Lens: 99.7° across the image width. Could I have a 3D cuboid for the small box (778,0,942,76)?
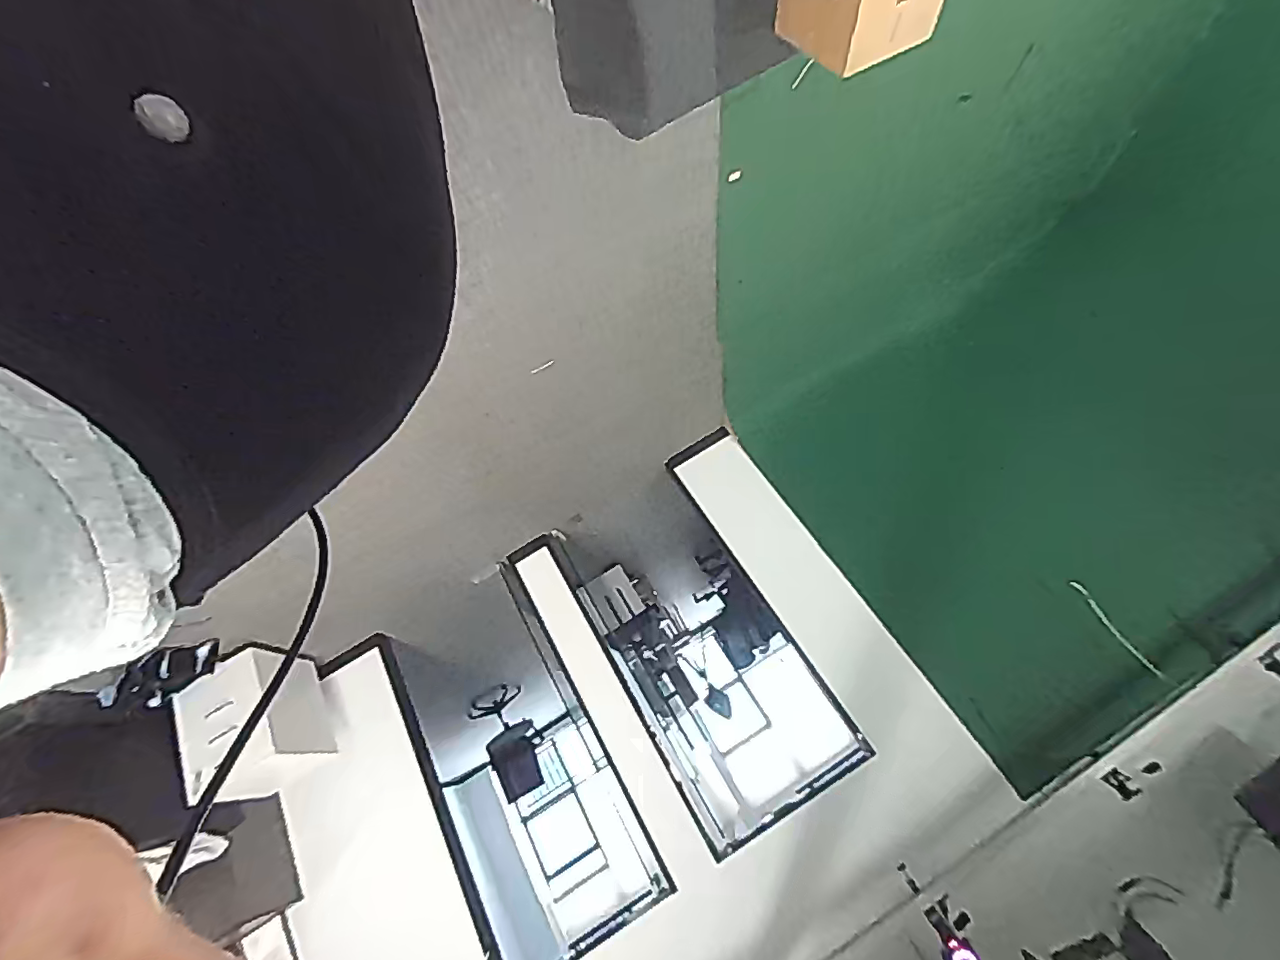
[{"bbox_3d":[0.314,-0.720,0.751,0.168,0.176,0.179,-29,156,-9],"label":"small box"}]
